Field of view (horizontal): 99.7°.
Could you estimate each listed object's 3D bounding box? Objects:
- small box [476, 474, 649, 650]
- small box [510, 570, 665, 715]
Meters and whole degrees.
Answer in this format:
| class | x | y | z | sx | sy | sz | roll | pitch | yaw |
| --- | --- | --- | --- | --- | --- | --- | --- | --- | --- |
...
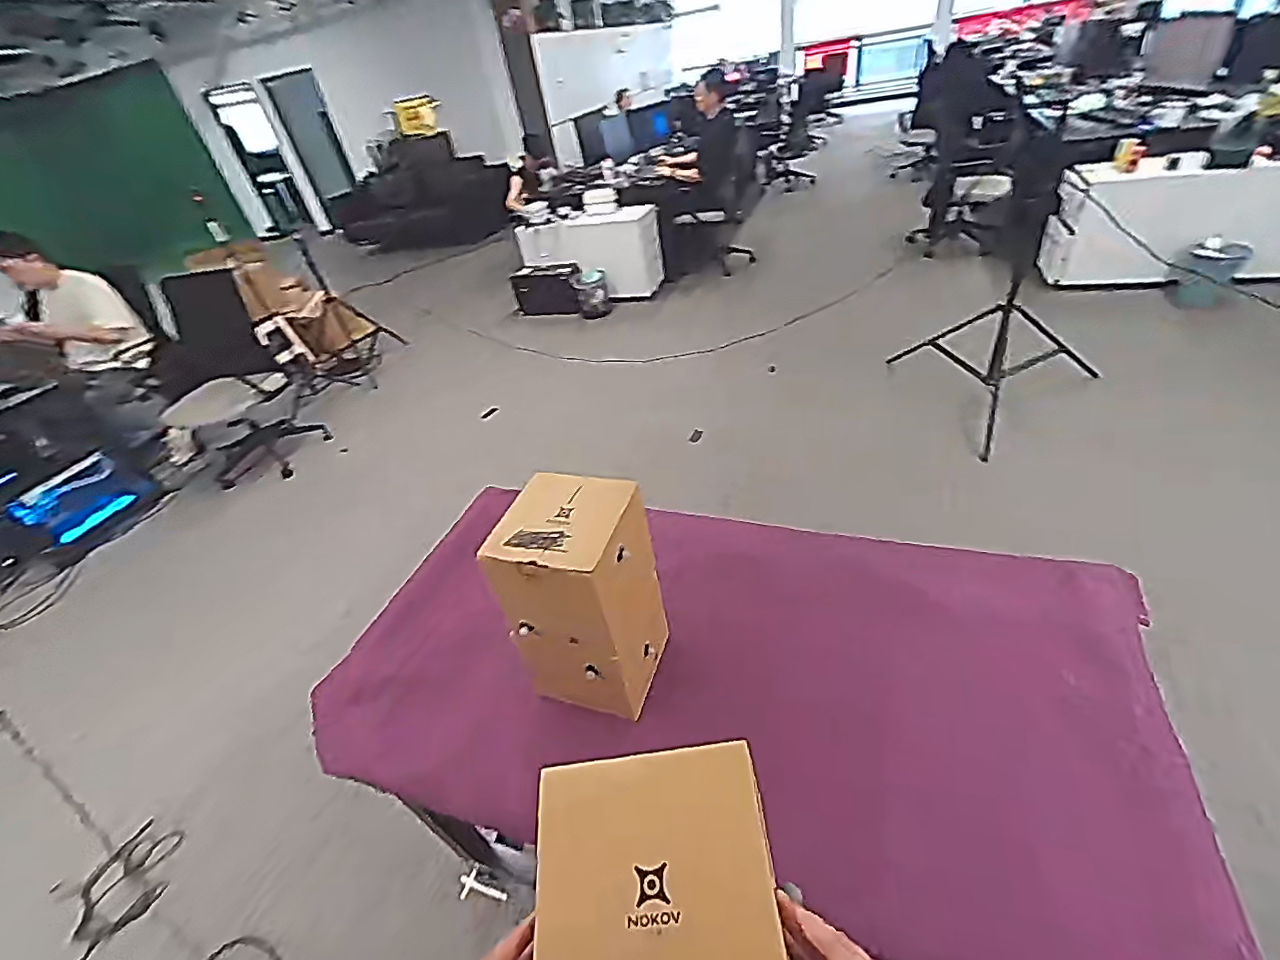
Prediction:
| class | x | y | z | sx | sy | sz | roll | pitch | yaw |
| --- | --- | --- | --- | --- | --- | --- | --- | --- | --- |
| small box | -0.093 | 0.113 | 0.762 | 0.168 | 0.176 | 0.179 | 5 | 40 | 19 |
| small box | -0.070 | 0.245 | 0.857 | 0.179 | 0.176 | 0.168 | 6 | 41 | 21 |
